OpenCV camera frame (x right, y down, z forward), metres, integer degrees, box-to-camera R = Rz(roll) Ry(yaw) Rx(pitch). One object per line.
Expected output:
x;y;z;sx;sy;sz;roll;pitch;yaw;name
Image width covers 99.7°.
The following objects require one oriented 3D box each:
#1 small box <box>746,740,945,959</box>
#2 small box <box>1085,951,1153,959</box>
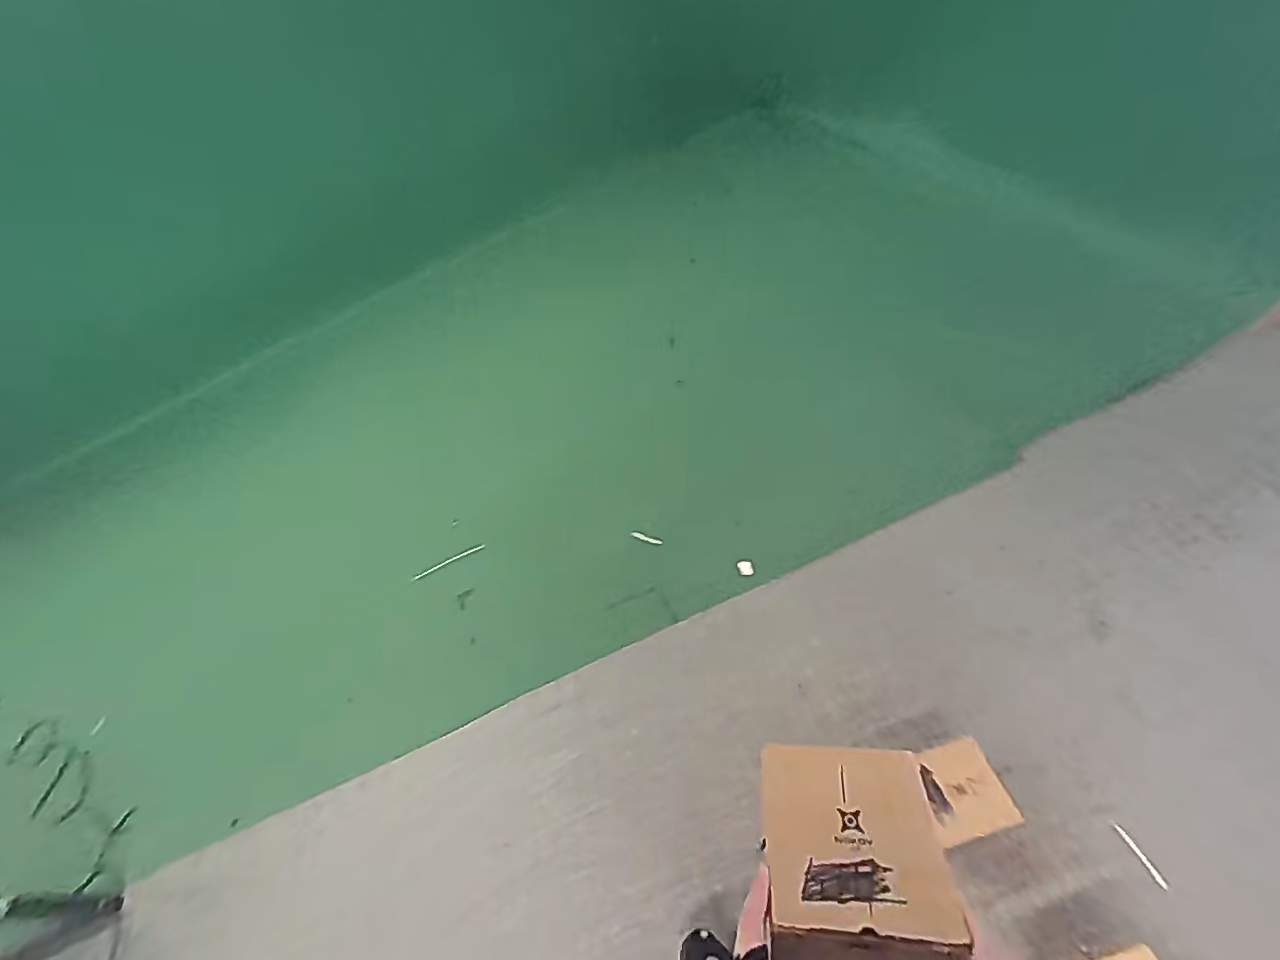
0.204;0.414;0.587;0.168;0.176;0.179;-2;32;9;small box
0.832;0.937;0.920;0.168;0.176;0.179;-25;49;3;small box
